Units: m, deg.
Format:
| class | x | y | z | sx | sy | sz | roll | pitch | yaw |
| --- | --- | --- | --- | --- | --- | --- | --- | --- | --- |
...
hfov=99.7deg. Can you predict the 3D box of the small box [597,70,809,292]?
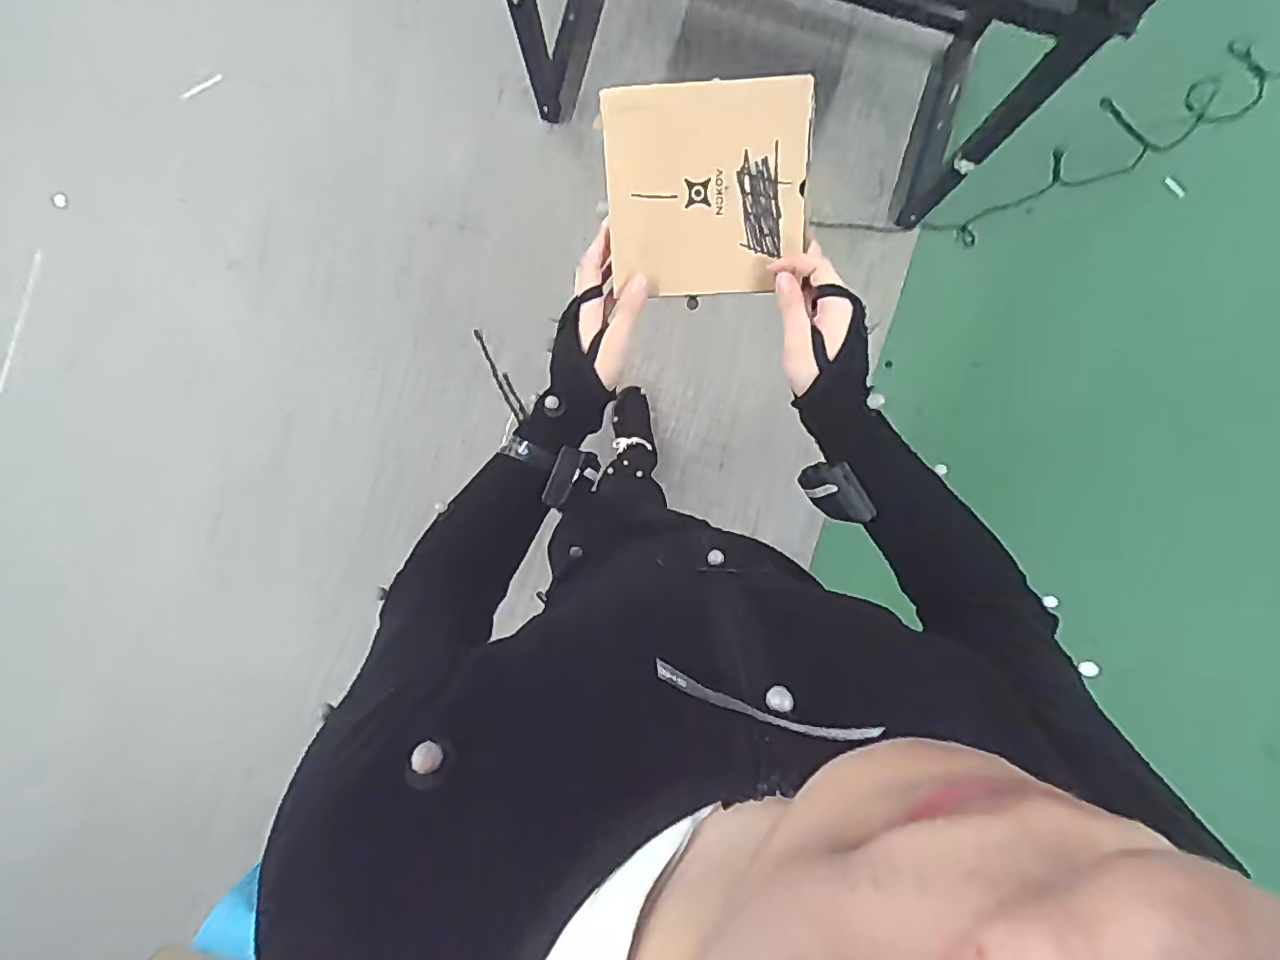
| class | x | y | z | sx | sy | sz | roll | pitch | yaw |
| --- | --- | --- | --- | --- | --- | --- | --- | --- | --- |
| small box | 0.056 | -0.281 | 0.541 | 0.179 | 0.176 | 0.168 | -2 | 110 | 3 |
